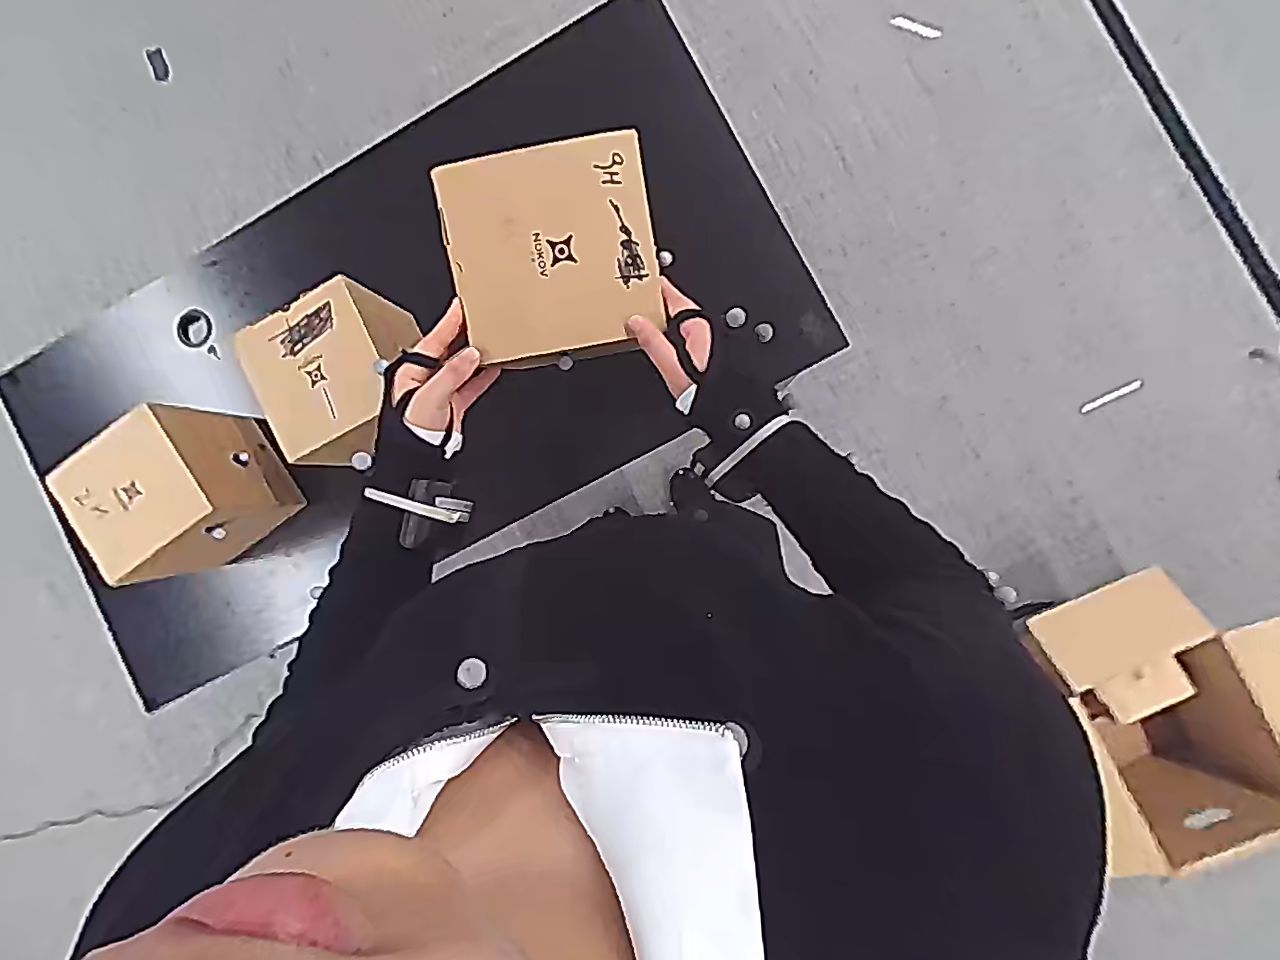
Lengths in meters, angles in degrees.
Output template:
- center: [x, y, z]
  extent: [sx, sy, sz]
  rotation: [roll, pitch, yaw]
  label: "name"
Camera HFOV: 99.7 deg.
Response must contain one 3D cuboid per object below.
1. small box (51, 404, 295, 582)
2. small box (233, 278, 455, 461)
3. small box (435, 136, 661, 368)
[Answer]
- center: [-0.633, 0.016, 0.762]
  extent: [0.179, 0.176, 0.168]
  rotation: [-35, 87, 5]
  label: "small box"
- center: [-0.387, -0.135, 0.737]
  extent: [0.168, 0.176, 0.179]
  rotation: [-27, 88, 5]
  label: "small box"
- center: [-0.075, -0.208, 0.544]
  extent: [0.179, 0.176, 0.168]
  rotation: [-8, 100, 3]
  label: "small box"
